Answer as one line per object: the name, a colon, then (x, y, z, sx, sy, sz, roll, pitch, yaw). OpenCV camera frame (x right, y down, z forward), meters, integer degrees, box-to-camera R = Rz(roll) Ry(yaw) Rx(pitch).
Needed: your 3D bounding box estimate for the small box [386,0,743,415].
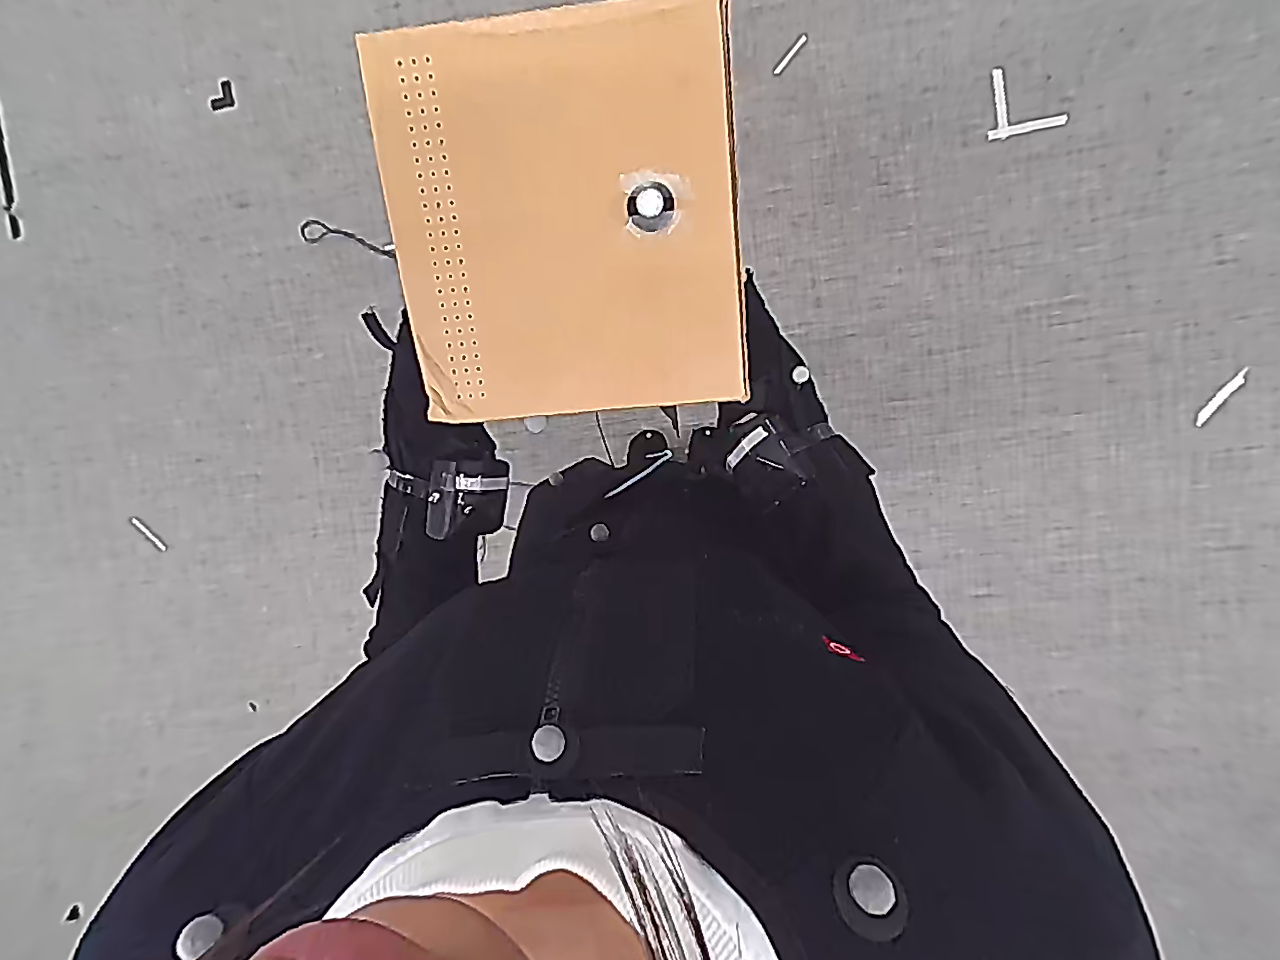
small box: (-0.034, -0.143, 0.342, 0.176, 0.168, 0.179, -4, 104, 5)
